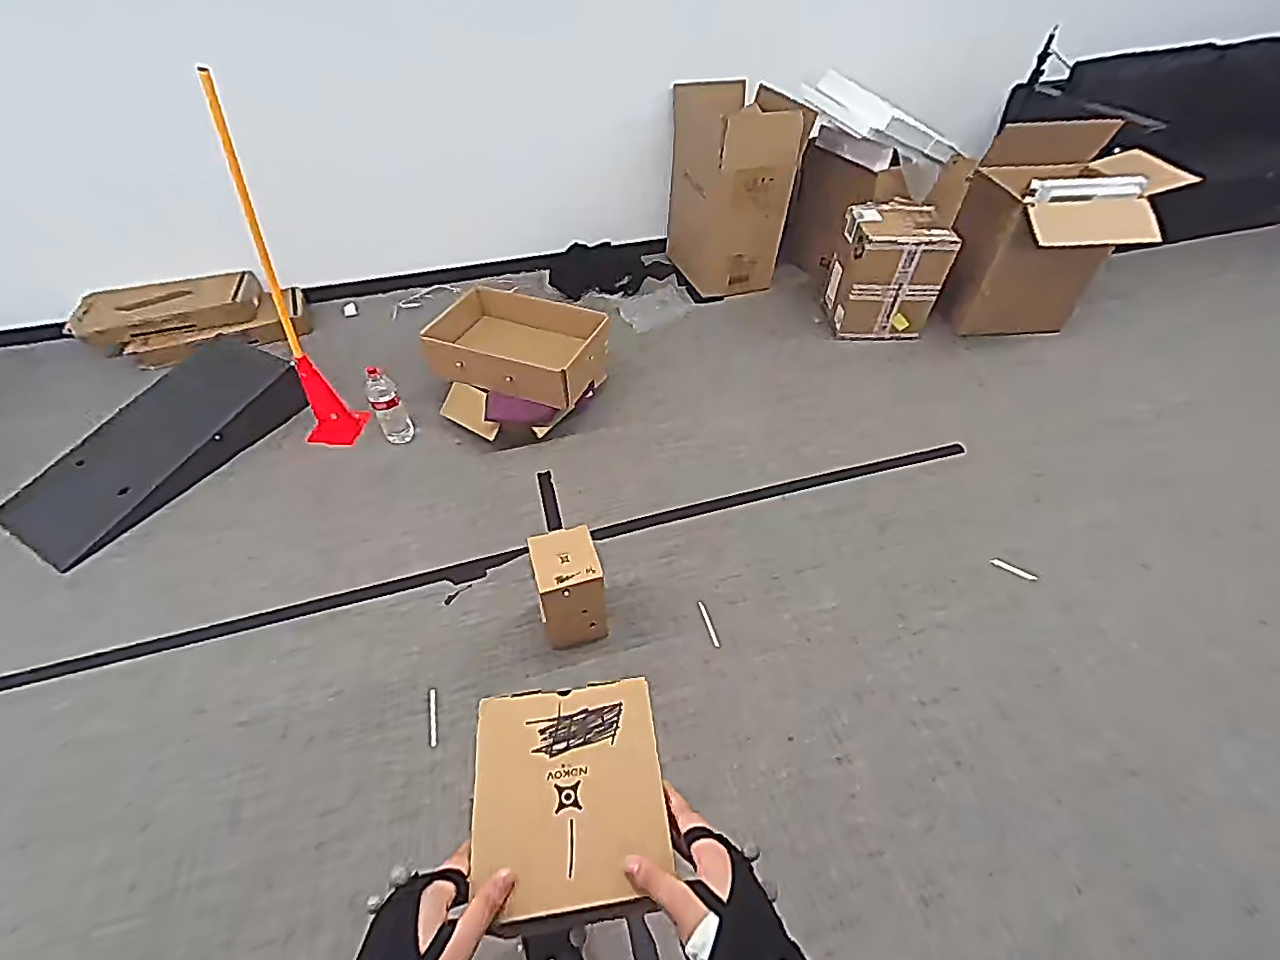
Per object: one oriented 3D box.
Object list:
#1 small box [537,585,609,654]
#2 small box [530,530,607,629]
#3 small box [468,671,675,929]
[{"bbox_3d":[-0.191,0.379,1.567,0.179,0.176,0.168,-14,48,-10],"label":"small box"},{"bbox_3d":[-0.190,0.268,1.446,0.168,0.176,0.179,-14,47,-12],"label":"small box"},{"bbox_3d":[-0.064,0.316,0.536,0.168,0.176,0.179,-6,48,-6],"label":"small box"}]
